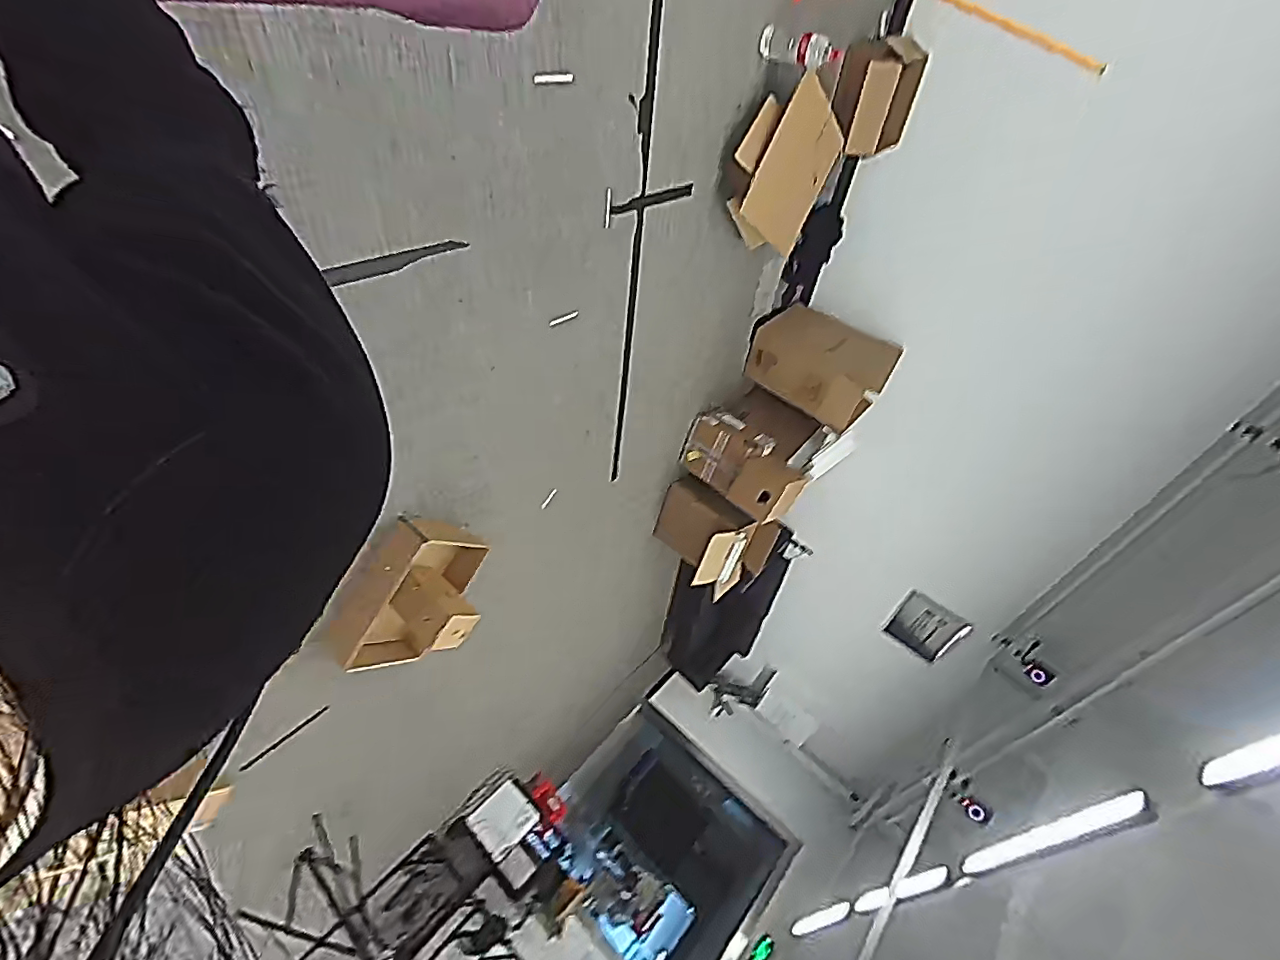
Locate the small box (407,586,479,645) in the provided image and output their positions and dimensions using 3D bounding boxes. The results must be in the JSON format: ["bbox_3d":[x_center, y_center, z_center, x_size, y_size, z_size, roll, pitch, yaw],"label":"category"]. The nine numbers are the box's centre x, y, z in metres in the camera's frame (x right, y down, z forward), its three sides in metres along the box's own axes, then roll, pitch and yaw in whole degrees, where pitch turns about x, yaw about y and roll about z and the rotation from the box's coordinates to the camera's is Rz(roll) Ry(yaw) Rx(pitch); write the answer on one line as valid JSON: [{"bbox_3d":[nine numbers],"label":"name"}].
[{"bbox_3d":[-0.795,0.542,2.178,0.168,0.176,0.179,-54,156,1],"label":"small box"}]
